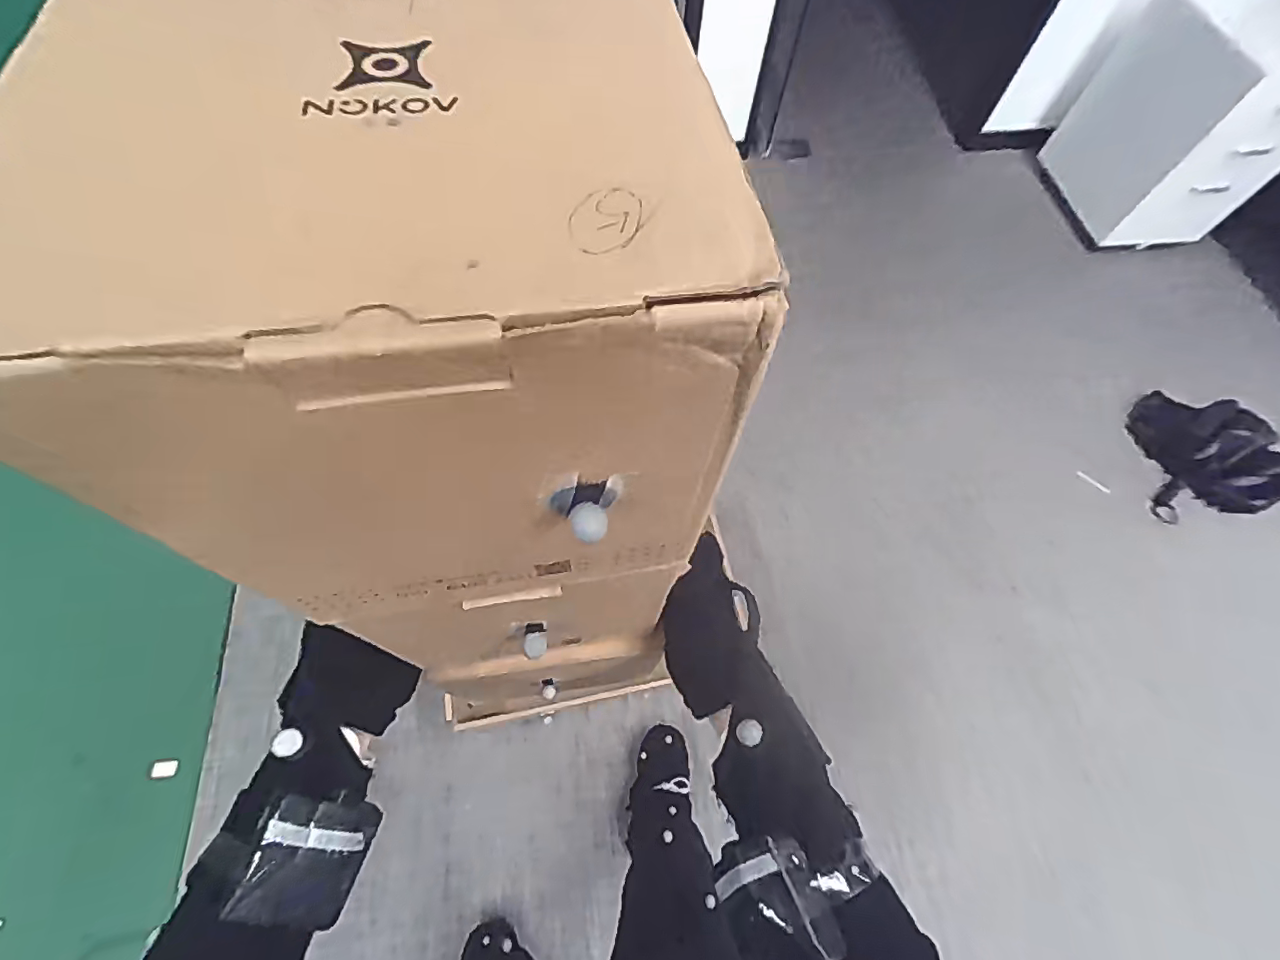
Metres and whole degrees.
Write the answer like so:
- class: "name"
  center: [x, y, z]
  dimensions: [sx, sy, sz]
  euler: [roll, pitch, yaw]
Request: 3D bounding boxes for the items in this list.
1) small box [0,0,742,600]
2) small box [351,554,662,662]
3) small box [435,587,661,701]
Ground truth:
- class: "small box"
  center: [-0.073, -0.059, 0.224]
  dimensions: [0.168, 0.176, 0.179]
  euler: [-7, 62, -9]
- class: "small box"
  center: [-0.085, 0.022, 0.386]
  dimensions: [0.168, 0.176, 0.179]
  euler: [-10, 63, -8]
- class: "small box"
  center: [-0.084, 0.109, 0.522]
  dimensions: [0.179, 0.176, 0.168]
  euler: [-6, 62, -6]
